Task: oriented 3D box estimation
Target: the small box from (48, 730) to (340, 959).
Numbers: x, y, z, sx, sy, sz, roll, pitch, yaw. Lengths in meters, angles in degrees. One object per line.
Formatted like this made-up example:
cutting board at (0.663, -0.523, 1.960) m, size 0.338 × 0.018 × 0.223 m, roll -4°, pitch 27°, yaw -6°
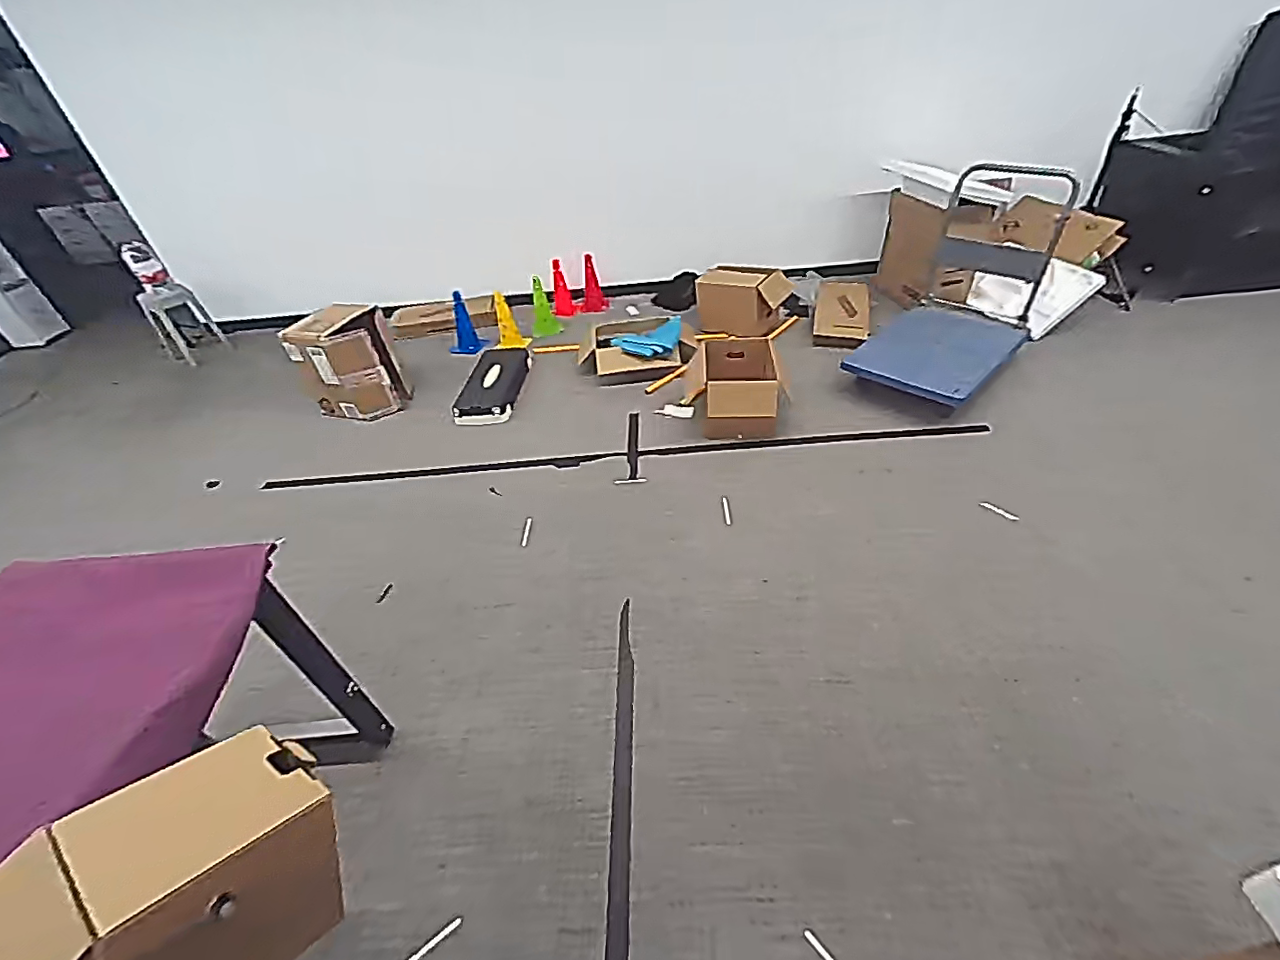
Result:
small box at (-0.430, 0.399, 0.538) m, size 0.168 × 0.176 × 0.179 m, roll 13°, pitch 17°, yaw 33°
